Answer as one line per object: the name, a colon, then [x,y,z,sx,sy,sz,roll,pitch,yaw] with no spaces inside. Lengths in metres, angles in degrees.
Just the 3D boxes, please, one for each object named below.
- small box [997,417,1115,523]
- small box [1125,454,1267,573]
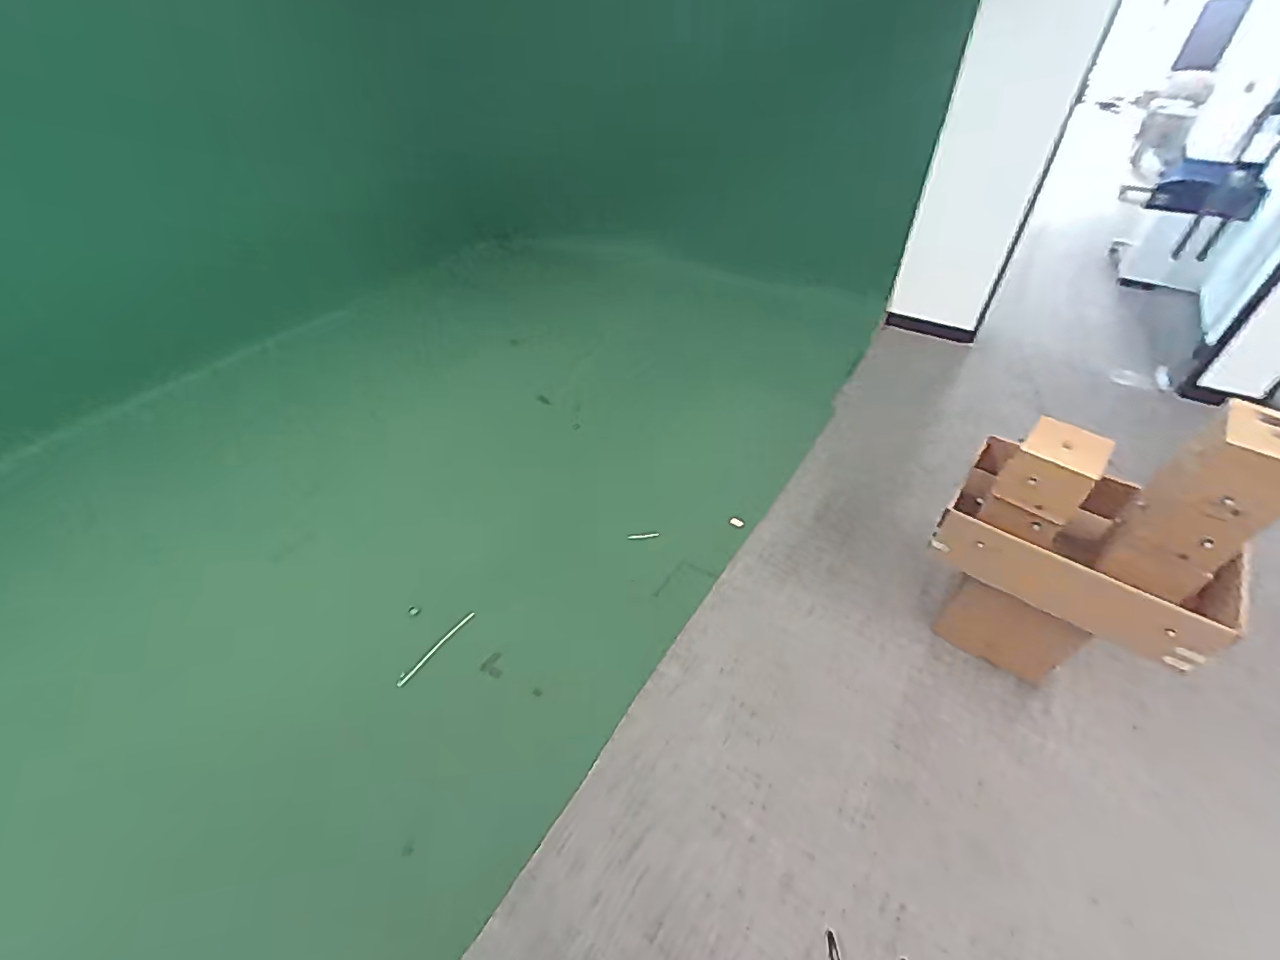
small box: [1.033,-0.023,1.357,0.168,0.176,0.179,31,54,30]
small box: [1.266,0.079,1.240,0.168,0.176,0.179,29,53,27]
